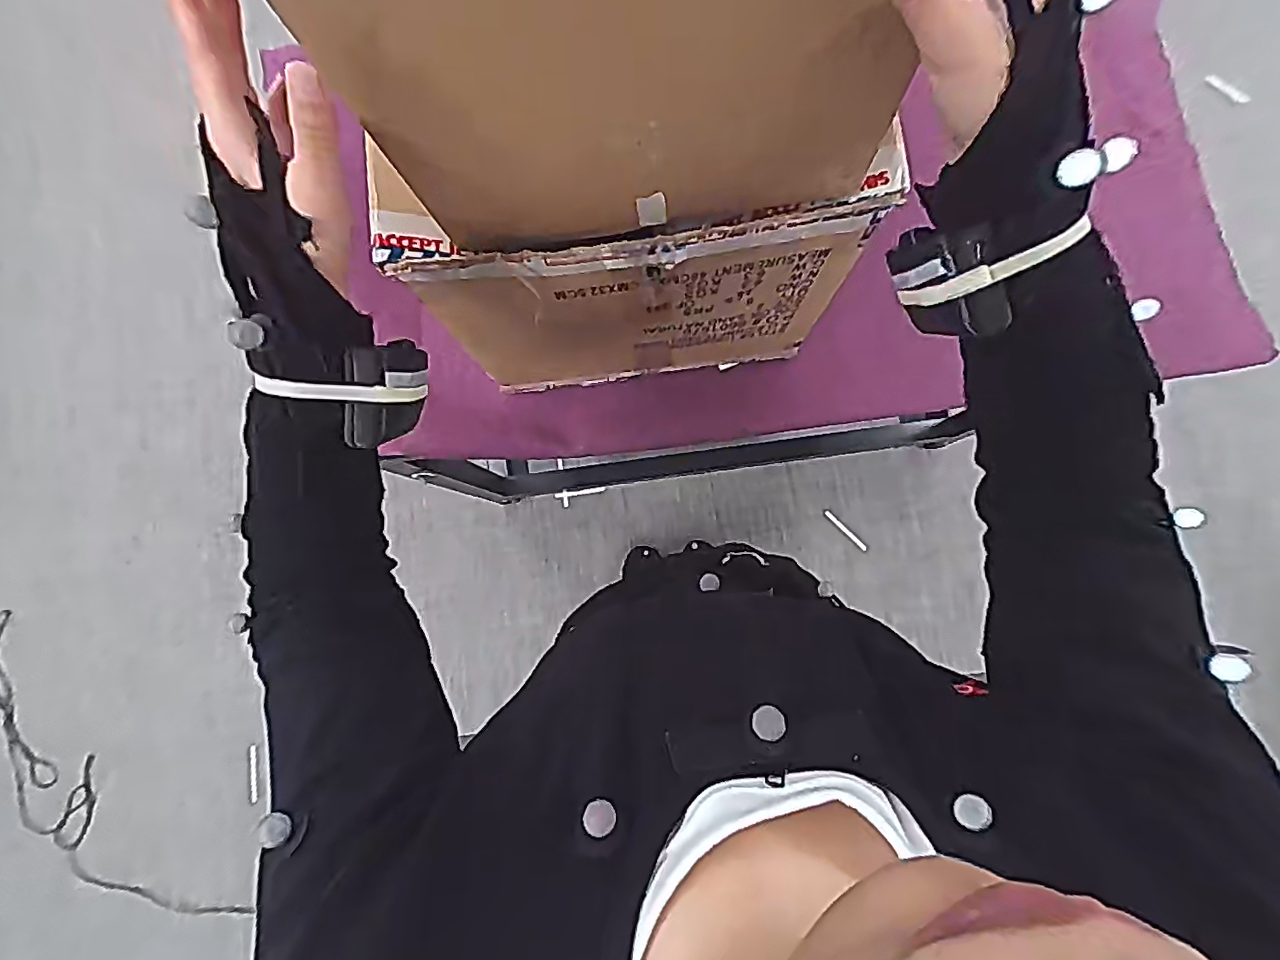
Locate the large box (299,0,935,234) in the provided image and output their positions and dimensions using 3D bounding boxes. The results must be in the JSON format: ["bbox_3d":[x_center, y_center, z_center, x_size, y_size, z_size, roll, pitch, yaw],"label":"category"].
[{"bbox_3d":[-0.024,-0.418,0.289,0.320,0.320,0.408,-7,83,6],"label":"large box"}]
